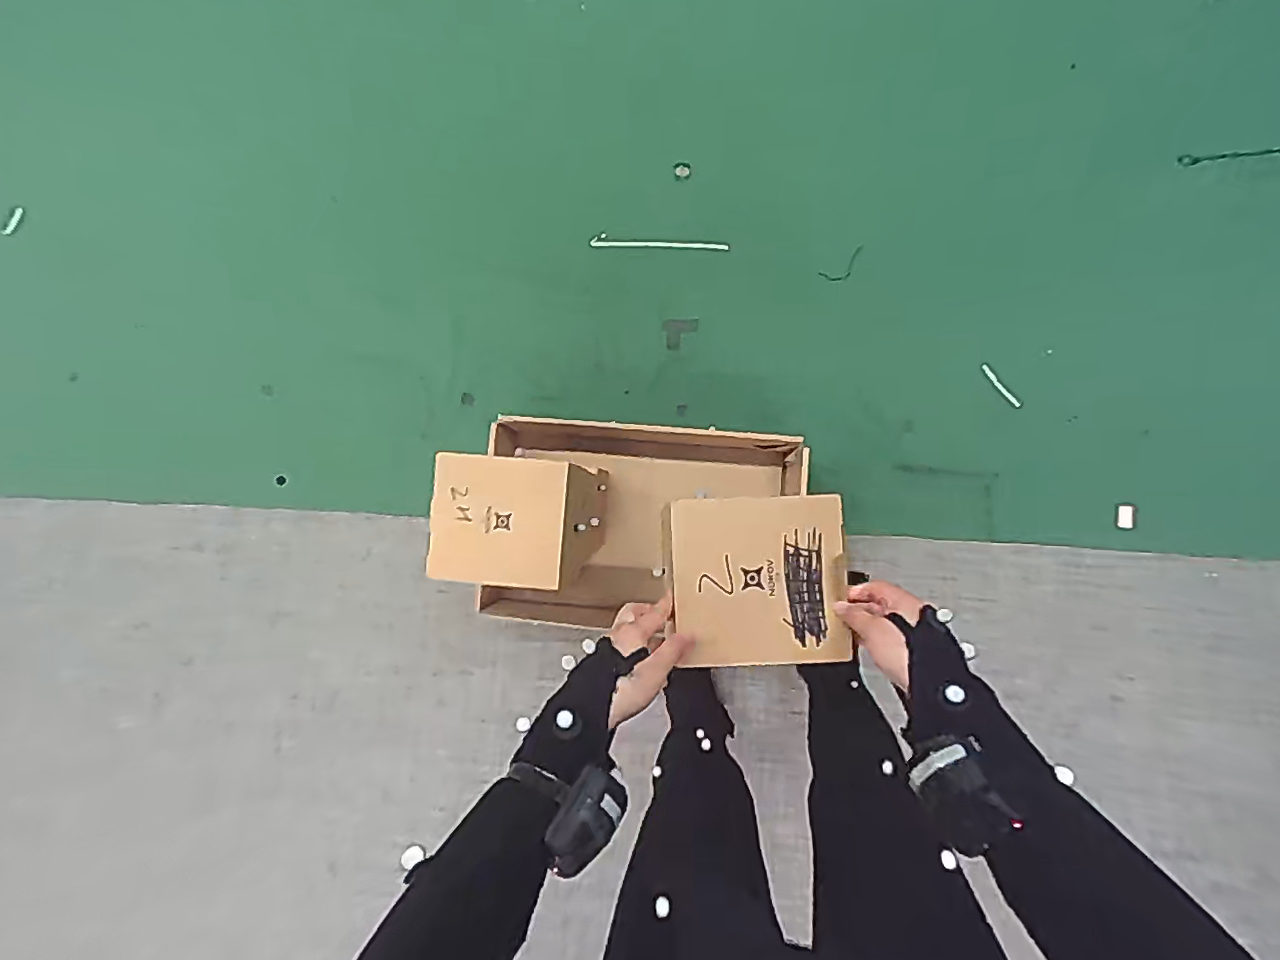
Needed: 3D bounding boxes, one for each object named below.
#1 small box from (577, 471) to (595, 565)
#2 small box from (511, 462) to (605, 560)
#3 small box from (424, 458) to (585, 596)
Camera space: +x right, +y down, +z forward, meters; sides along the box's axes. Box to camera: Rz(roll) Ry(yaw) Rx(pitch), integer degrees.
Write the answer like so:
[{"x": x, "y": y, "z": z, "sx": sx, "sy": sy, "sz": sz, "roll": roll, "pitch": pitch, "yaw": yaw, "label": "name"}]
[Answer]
[{"x": -0.179, "y": 0.063, "z": 0.928, "sx": 0.179, "sy": 0.176, "sz": 0.168, "roll": 5, "pitch": 89, "yaw": 2, "label": "small box"}, {"x": -0.165, "y": 0.059, "z": 1.092, "sx": 0.168, "sy": 0.176, "sz": 0.179, "roll": 4, "pitch": 89, "yaw": 3, "label": "small box"}, {"x": -0.178, "y": 0.061, "z": 0.762, "sx": 0.179, "sy": 0.176, "sz": 0.168, "roll": 4, "pitch": 88, "yaw": 4, "label": "small box"}]
